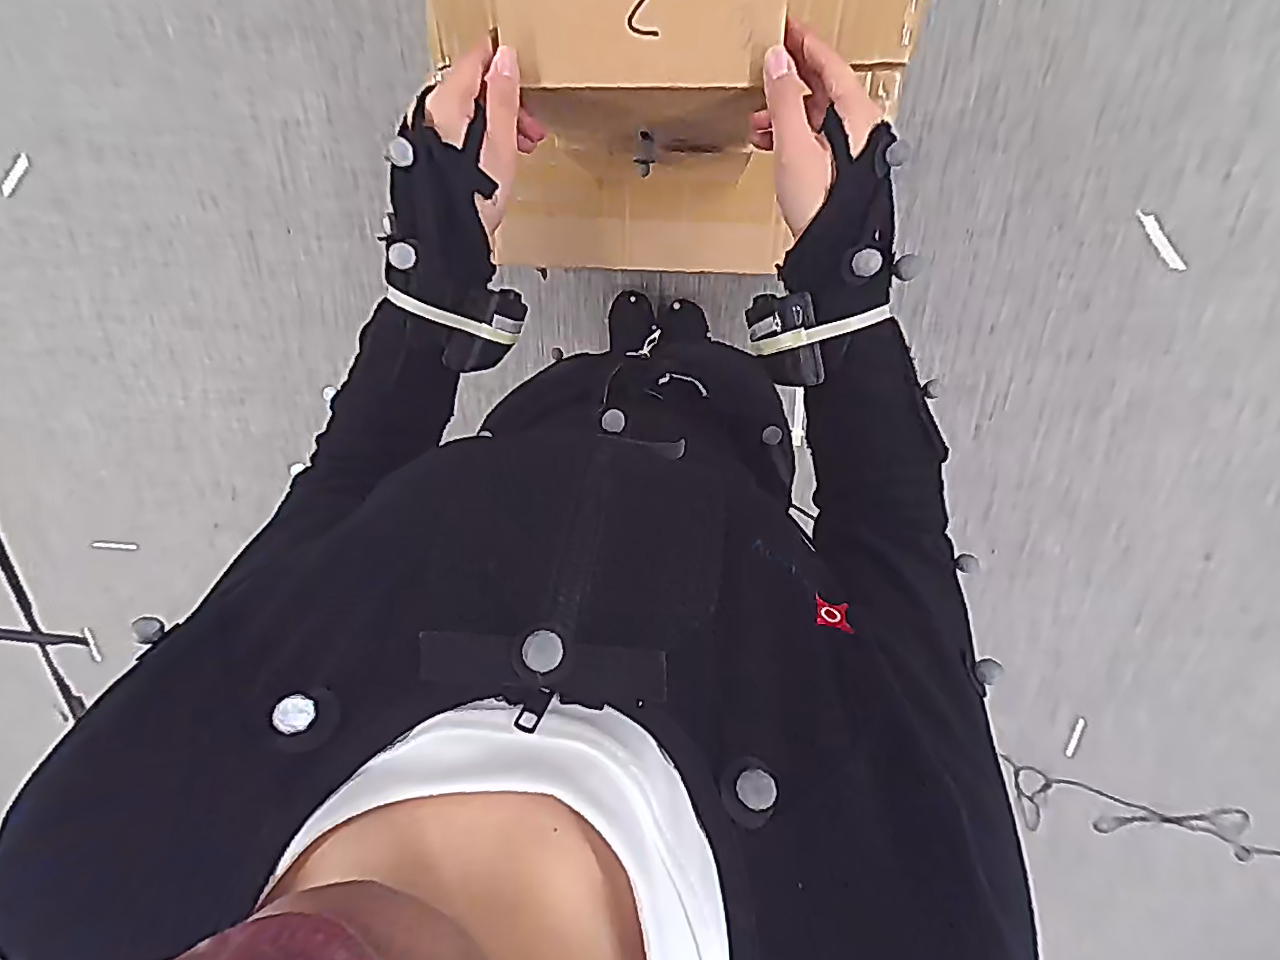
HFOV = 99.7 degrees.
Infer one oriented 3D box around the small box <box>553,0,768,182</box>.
[{"bbox_3d":[0.022,-0.391,0.516,0.179,0.176,0.168,4,111,4],"label":"small box"}]
